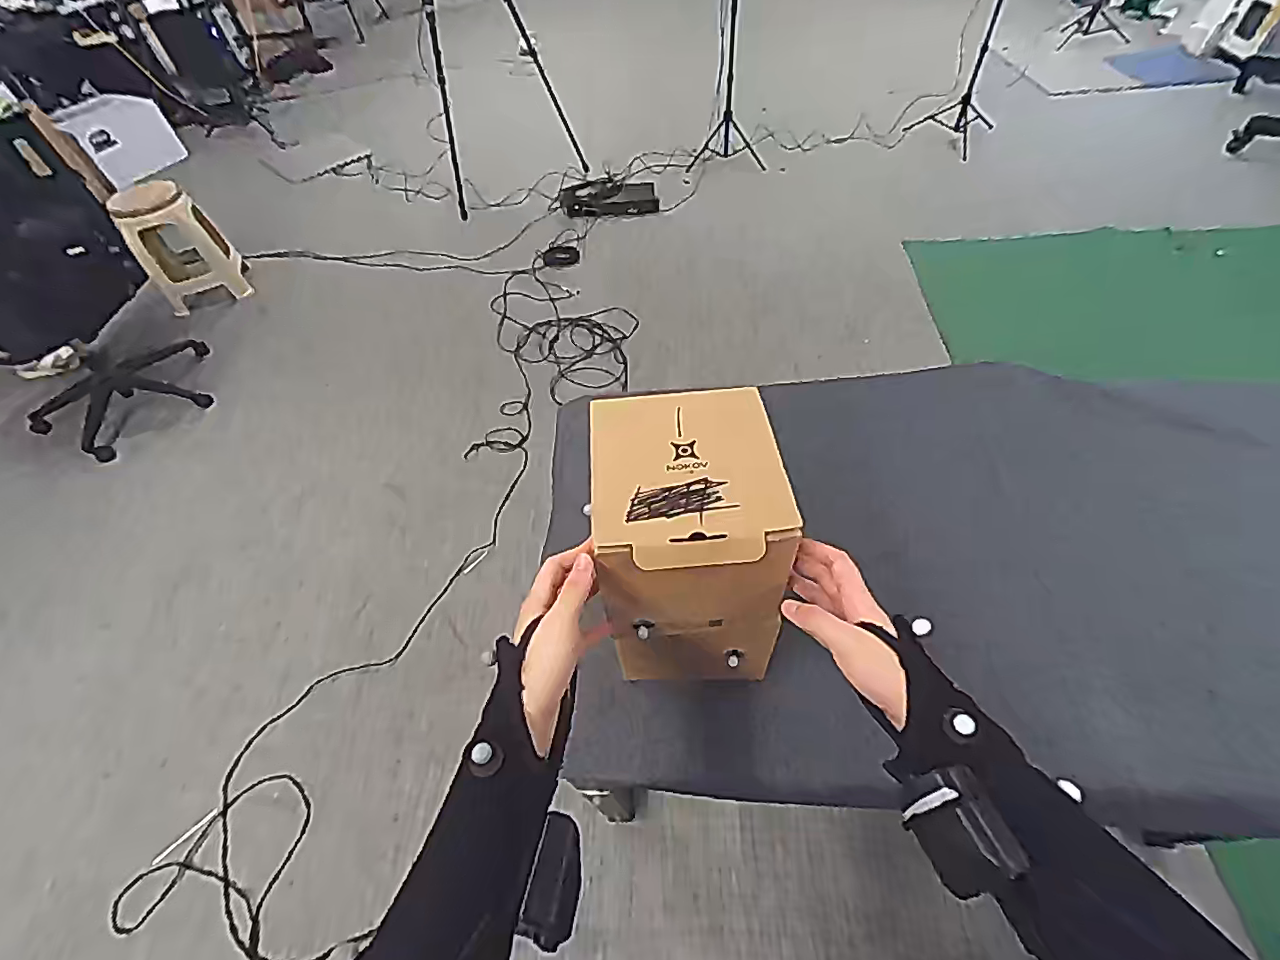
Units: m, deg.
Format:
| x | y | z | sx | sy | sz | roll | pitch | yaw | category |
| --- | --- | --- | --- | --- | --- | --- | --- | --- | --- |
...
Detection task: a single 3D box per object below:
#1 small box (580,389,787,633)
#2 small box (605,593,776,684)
| x | y | z | sx | sy | sz | roll | pitch | yaw | category |
| --- | --- | --- | --- | --- | --- | --- | --- | --- | --- |
| 0.036 | 0.037 | 0.530 | 0.168 | 0.176 | 0.179 | -5 | 49 | 0 | small box |
| 0.058 | 0.138 | 0.658 | 0.179 | 0.176 | 0.168 | -3 | 50 | 4 | small box |
